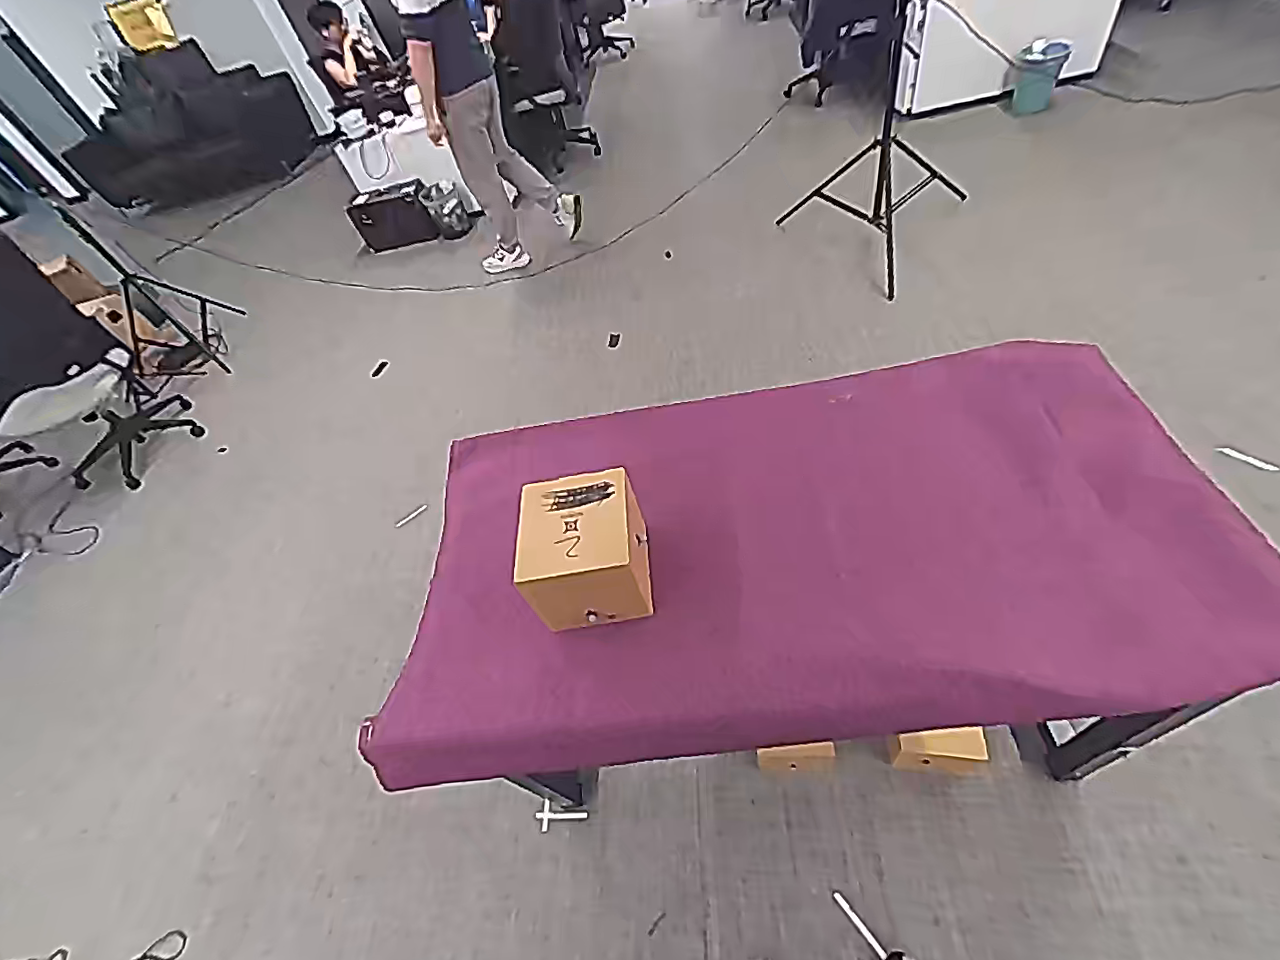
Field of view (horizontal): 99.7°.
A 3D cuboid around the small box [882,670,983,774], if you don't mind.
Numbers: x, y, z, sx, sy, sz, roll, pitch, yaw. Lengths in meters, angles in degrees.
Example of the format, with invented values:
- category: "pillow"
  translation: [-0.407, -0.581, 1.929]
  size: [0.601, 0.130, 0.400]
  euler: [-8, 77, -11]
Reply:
- category: "small box"
  translation: [0.660, 0.557, 1.240]
  size: [0.168, 0.176, 0.179]
  euler: [-1, 51, 16]

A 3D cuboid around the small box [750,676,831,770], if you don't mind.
- category: "small box"
  translation: [0.358, 0.587, 1.297]
  size: [0.168, 0.176, 0.179]
  euler: [-6, 50, 10]
